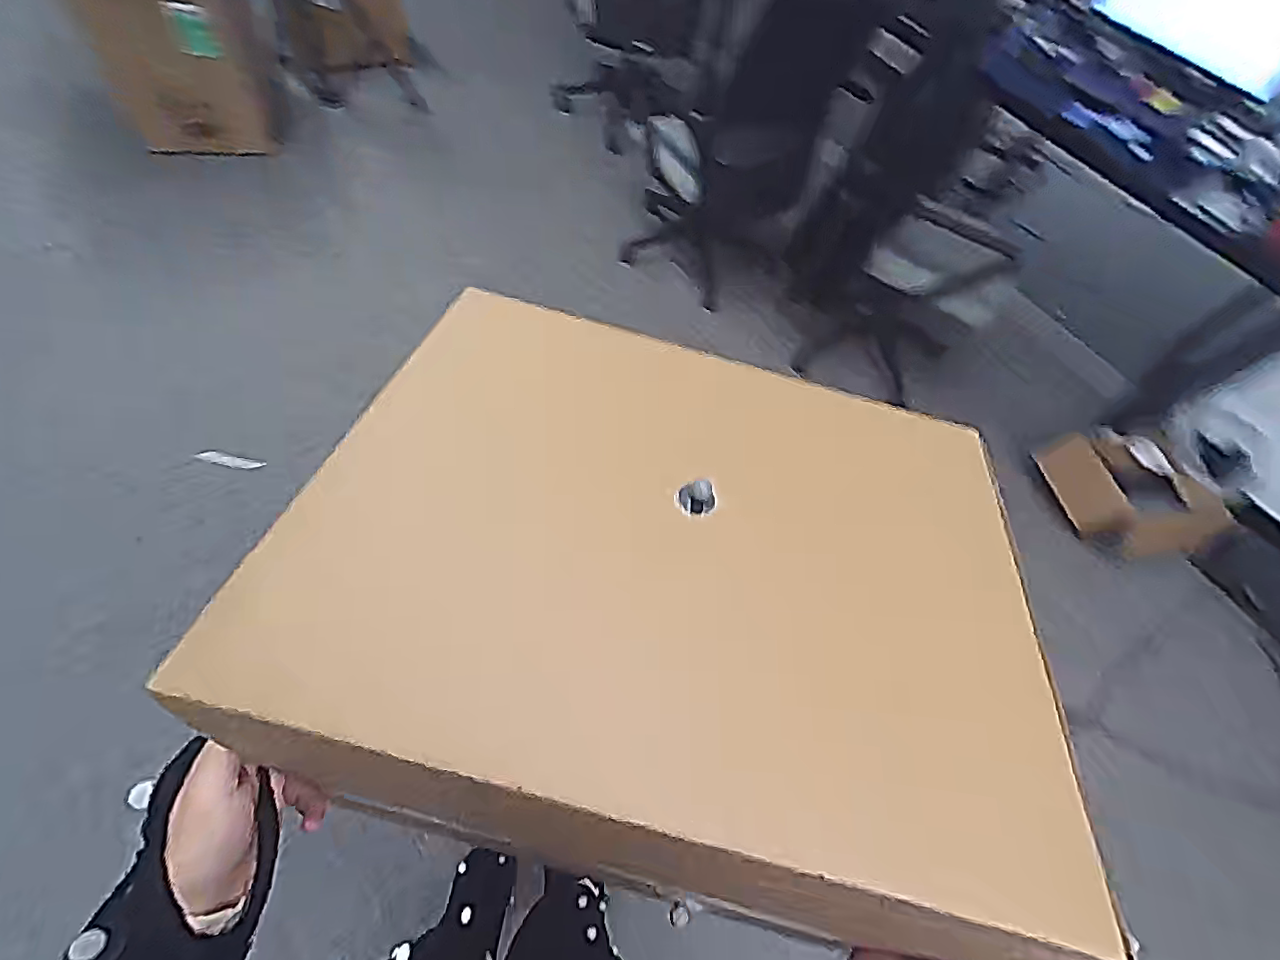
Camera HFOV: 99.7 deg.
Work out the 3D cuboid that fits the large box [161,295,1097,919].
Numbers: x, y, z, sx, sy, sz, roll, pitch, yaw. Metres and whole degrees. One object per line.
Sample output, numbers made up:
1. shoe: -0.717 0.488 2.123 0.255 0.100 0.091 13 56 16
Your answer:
1. large box: -0.003 0.102 0.428 0.408 0.320 0.320 14 51 0
